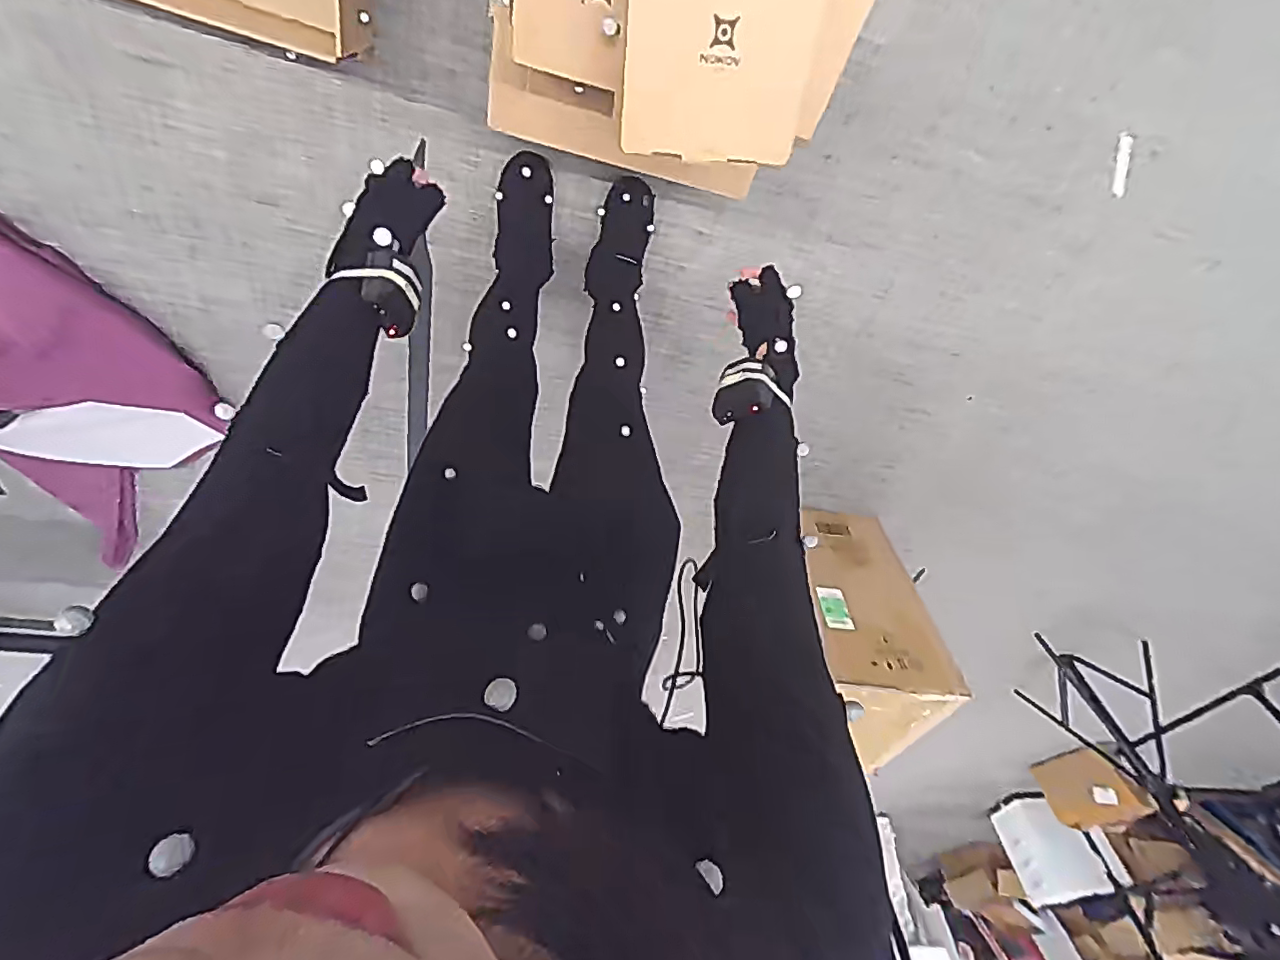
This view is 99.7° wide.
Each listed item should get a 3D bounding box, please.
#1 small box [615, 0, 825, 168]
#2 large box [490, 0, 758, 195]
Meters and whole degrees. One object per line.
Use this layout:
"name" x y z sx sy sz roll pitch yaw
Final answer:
"small box" 0.064 -0.427 0.522 0.168 0.176 0.179 1 132 -7
"large box" 0.001 -0.679 0.826 0.408 0.320 0.320 9 128 -14
